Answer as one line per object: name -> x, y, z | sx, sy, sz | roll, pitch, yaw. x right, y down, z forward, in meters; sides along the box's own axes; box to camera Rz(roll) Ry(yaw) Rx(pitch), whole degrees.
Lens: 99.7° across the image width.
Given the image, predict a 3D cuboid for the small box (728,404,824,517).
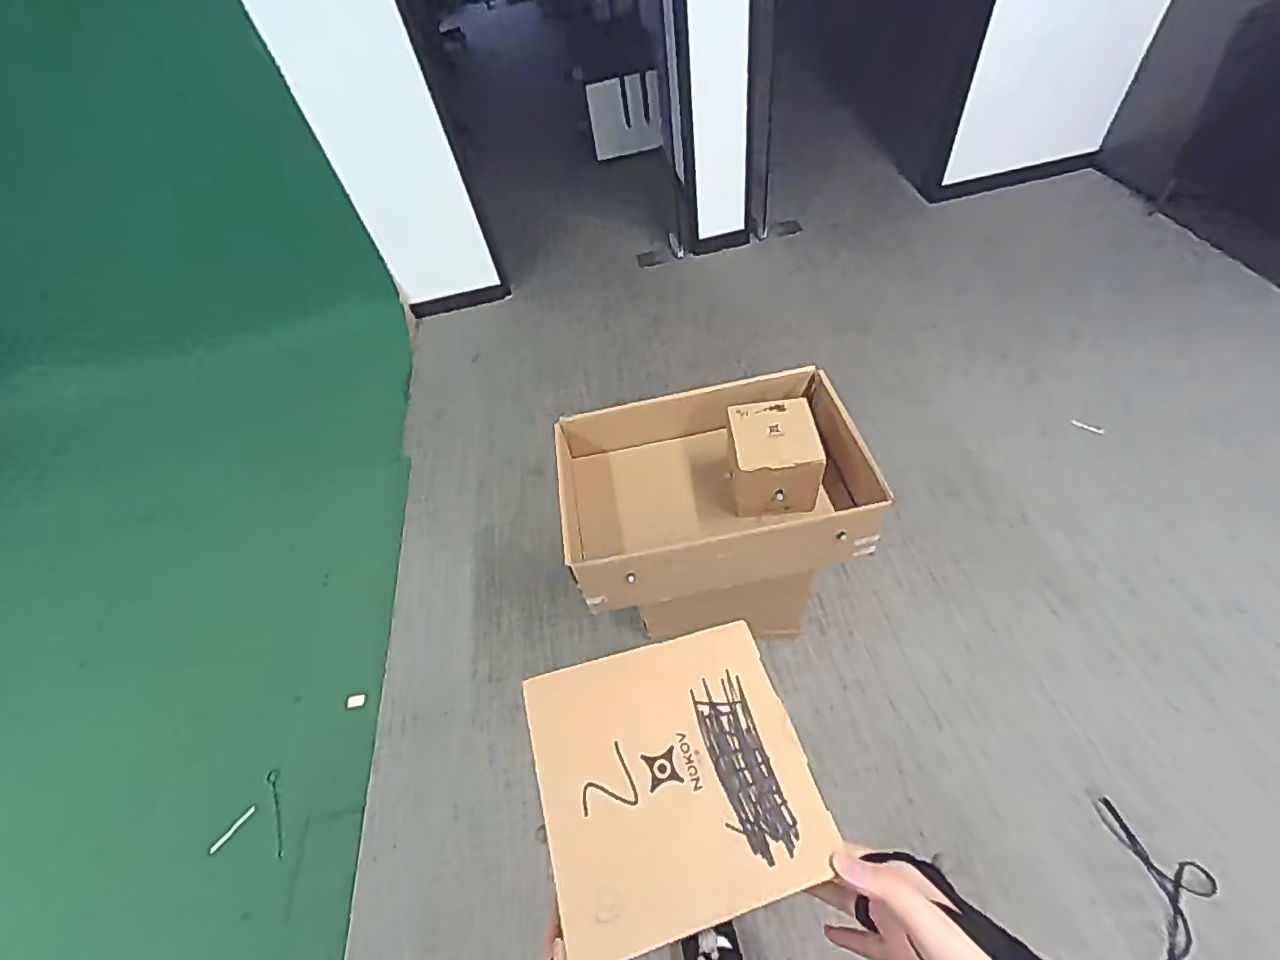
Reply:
small box -> 0.278, -0.033, 1.140 | 0.168, 0.176, 0.179 | -5, 53, 4
